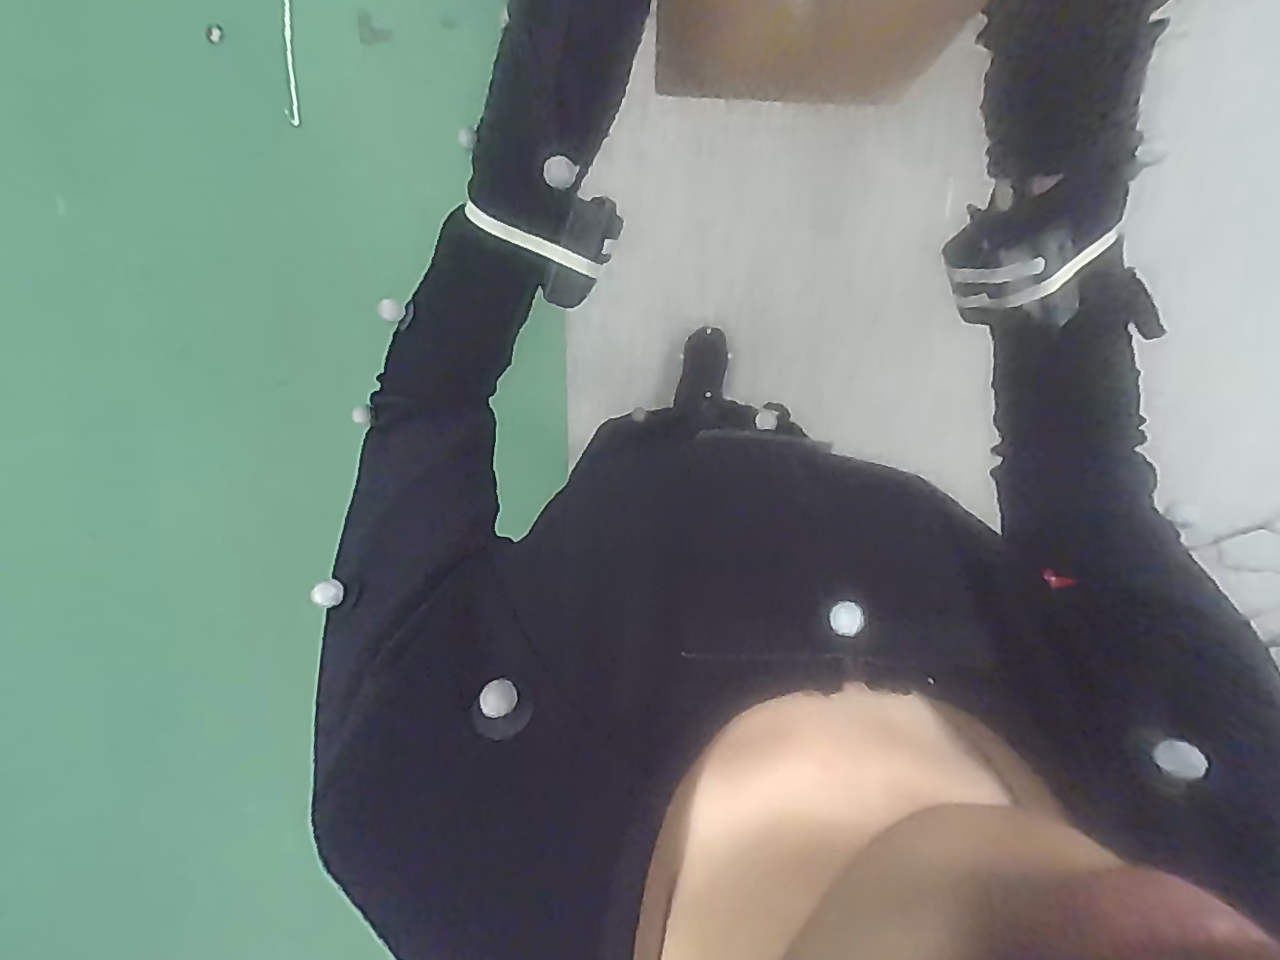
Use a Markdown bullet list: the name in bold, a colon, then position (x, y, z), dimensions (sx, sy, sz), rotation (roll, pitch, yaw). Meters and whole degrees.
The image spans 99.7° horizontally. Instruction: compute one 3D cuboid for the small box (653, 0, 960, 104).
- **small box**: position (0.098, -0.340, 0.298), dimensions (0.179, 0.176, 0.168), rotation (3, 98, -1)
